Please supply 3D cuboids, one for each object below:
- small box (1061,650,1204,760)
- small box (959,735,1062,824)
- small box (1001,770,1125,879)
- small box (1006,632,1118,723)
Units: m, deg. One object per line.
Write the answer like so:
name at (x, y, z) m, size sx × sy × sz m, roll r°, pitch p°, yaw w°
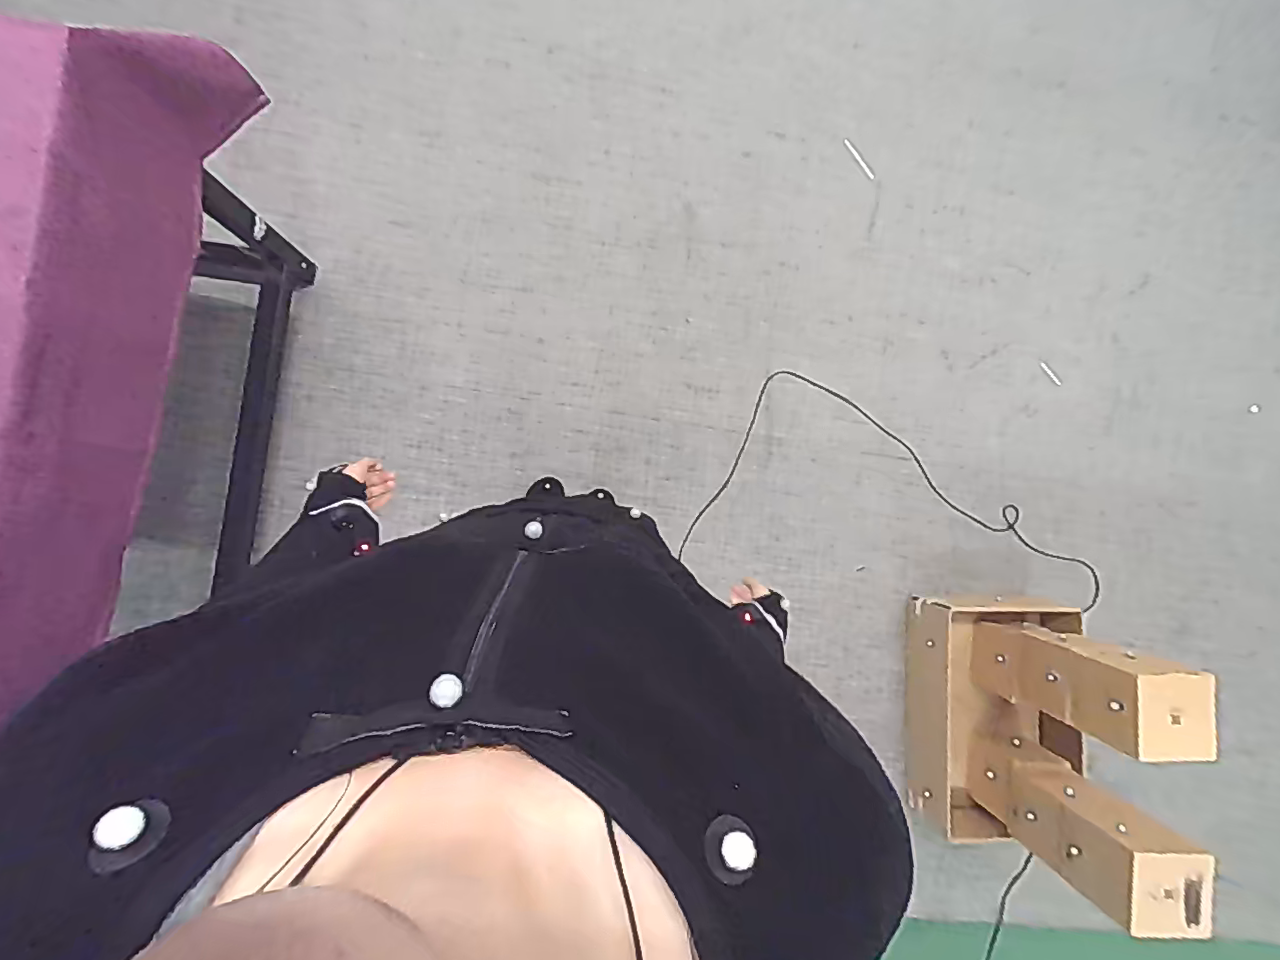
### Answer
small box at (1.056, 0.480, 1.173) m, size 0.168 × 0.176 × 0.179 m, roll 1°, pitch 87°, yaw -4°
small box at (1.011, 0.823, 1.486) m, size 0.168 × 0.176 × 0.179 m, roll 5°, pitch 87°, yaw -5°
small box at (1.024, 0.832, 1.321) m, size 0.179 × 0.176 × 0.168 m, roll 5°, pitch 89°, yaw -6°
small box at (1.043, 0.484, 1.335) m, size 0.168 × 0.176 × 0.179 m, roll 5°, pitch 89°, yaw -4°
